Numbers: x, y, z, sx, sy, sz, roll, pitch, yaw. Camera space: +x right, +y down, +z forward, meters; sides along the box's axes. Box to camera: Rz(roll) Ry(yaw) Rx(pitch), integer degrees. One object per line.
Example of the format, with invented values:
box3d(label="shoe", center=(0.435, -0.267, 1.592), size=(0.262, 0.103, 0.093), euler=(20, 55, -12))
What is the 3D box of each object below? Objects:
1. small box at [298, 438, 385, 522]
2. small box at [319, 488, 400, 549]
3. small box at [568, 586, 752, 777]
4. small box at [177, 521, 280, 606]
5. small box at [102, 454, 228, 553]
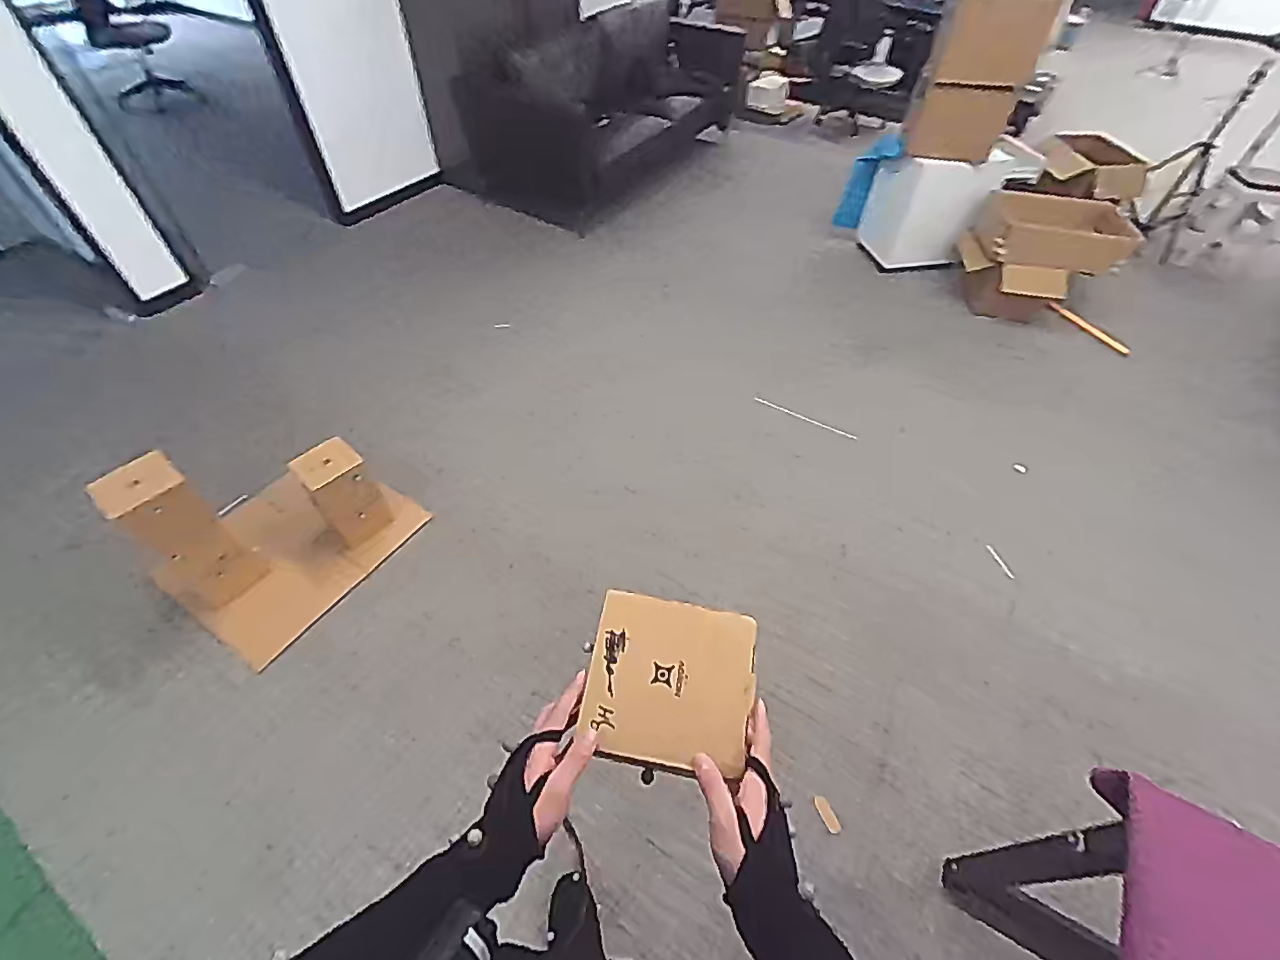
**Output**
box3d(label="small box", center=(-0.962, 0.002, 1.766), size=(0.168, 0.176, 0.179), euler=(35, 59, 25))
box3d(label="small box", center=(-0.972, 0.104, 1.896), size=(0.168, 0.176, 0.179), euler=(32, 57, 23))
box3d(label="small box", center=(0.022, 0.246, 0.647), size=(0.179, 0.176, 0.168), euler=(11, 60, 3))
box3d(label="small box", center=(-1.320, 0.273, 1.745), size=(0.168, 0.176, 0.179), euler=(31, 56, 22))
box3d(label="small box", center=(-1.298, 0.069, 1.489), size=(0.168, 0.176, 0.179), euler=(33, 57, 23))
